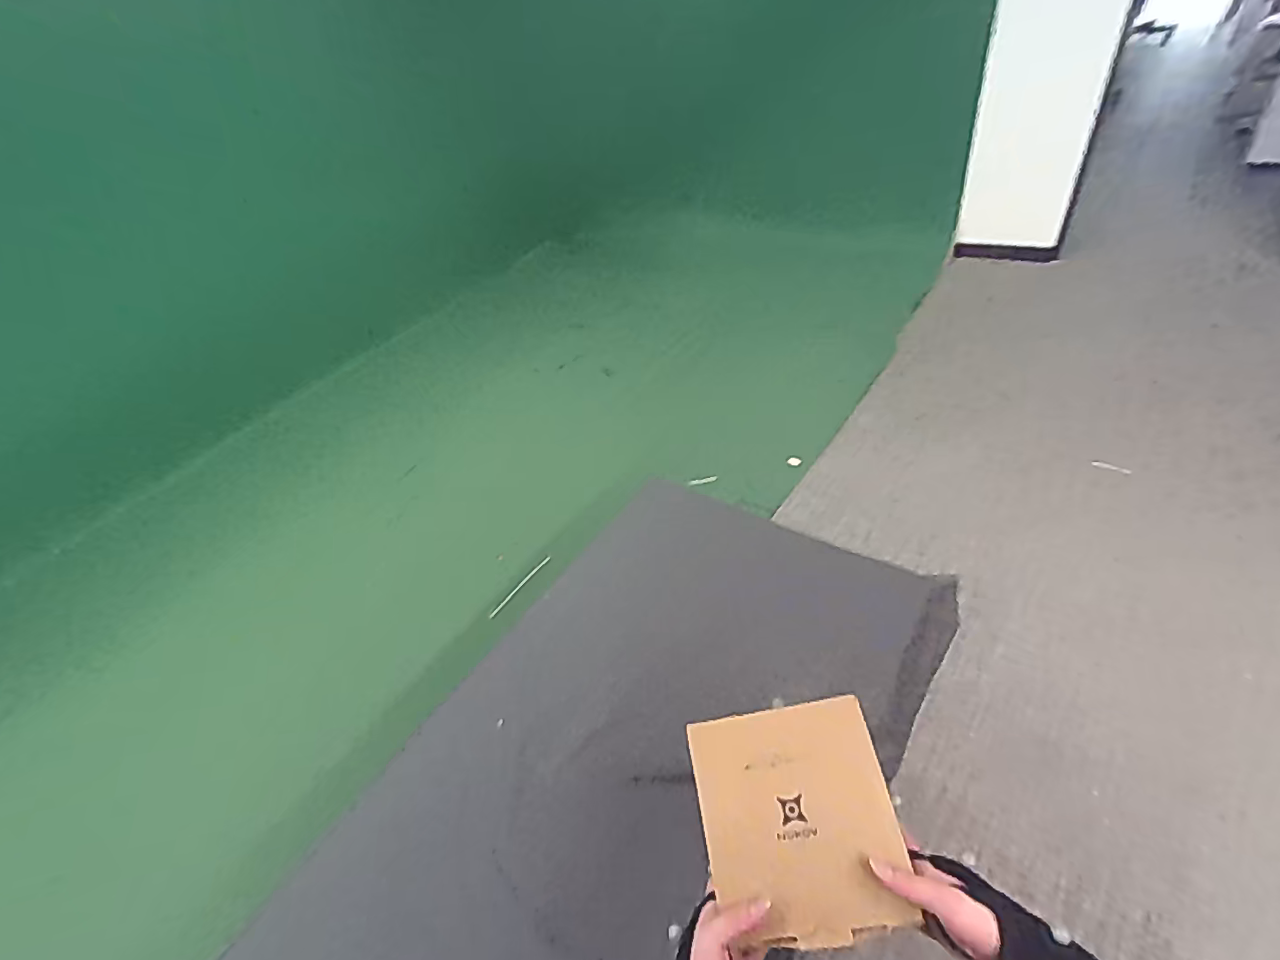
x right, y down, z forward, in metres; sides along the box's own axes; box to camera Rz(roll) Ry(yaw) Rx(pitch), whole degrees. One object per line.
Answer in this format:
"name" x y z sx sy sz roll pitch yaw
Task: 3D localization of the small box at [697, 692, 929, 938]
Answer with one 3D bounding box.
"small box" 0.163 0.327 0.554 0.168 0.176 0.179 -13 62 7
